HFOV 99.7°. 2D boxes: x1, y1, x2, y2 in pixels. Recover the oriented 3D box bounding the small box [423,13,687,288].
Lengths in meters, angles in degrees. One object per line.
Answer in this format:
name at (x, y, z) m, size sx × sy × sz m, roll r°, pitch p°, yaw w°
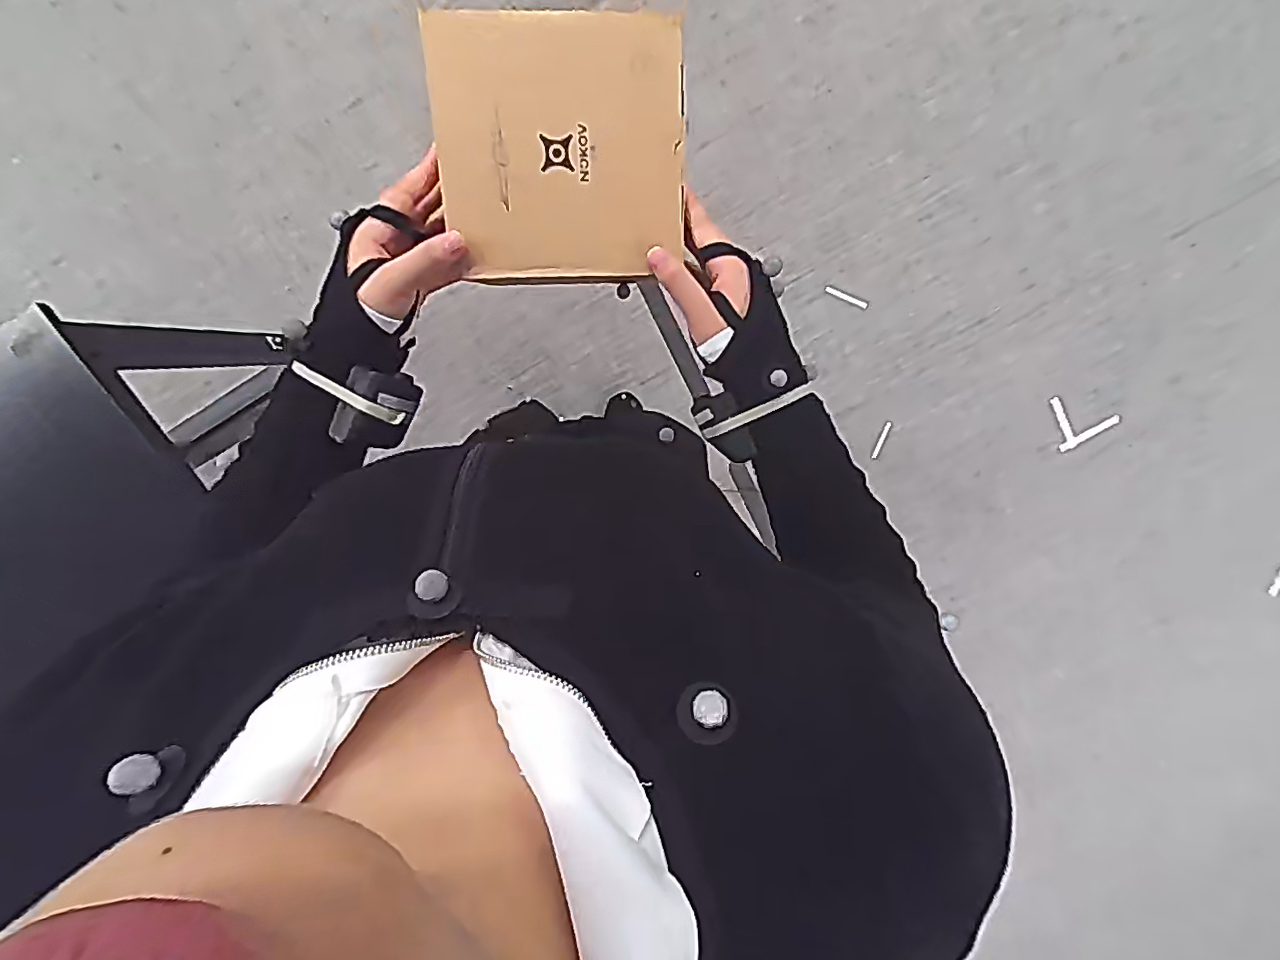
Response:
small box at (-0.060, -0.255, 0.458) m, size 0.179 × 0.176 × 0.168 m, roll -3°, pitch 107°, yaw -3°
